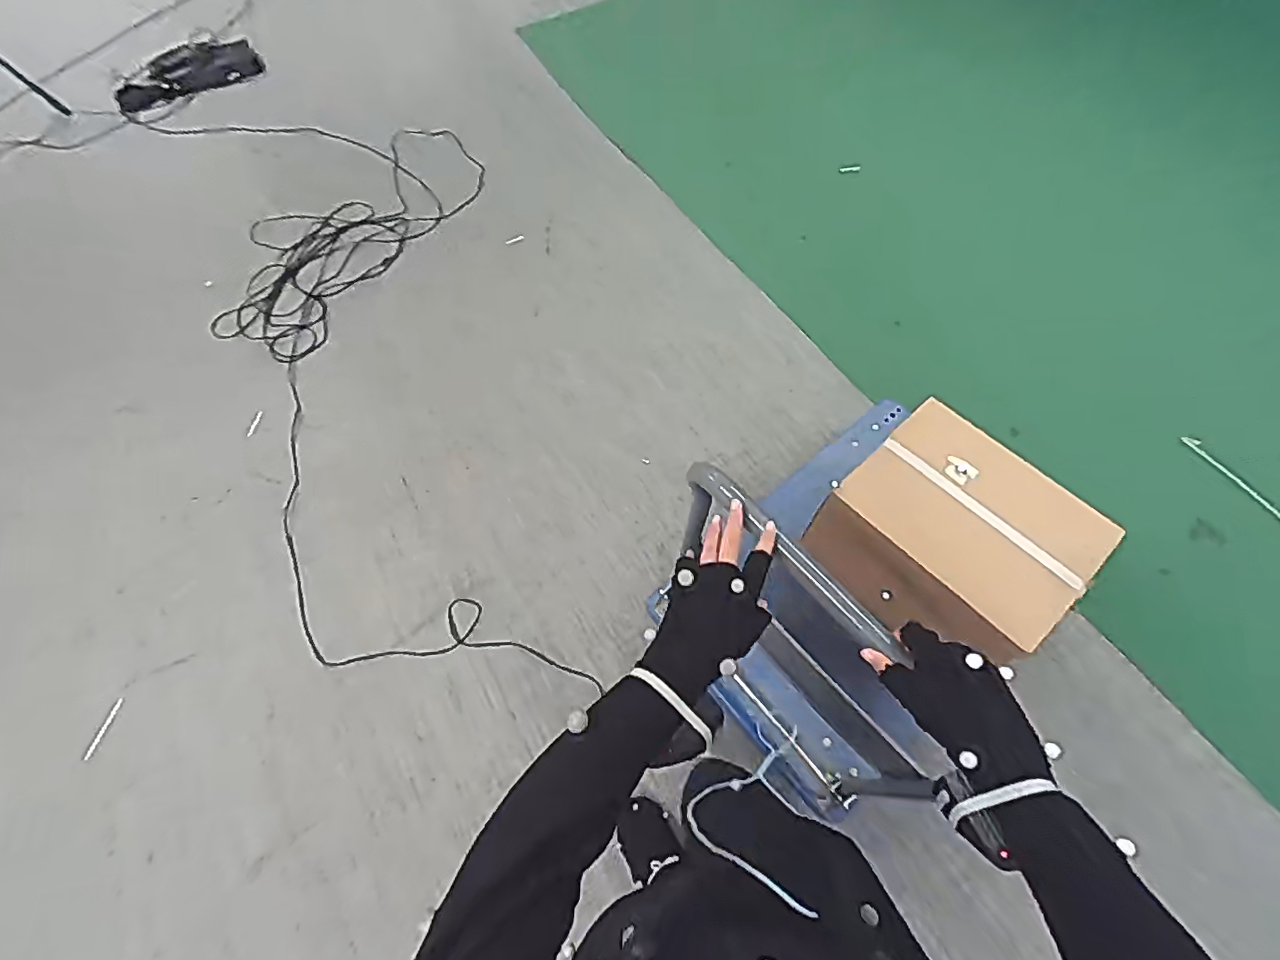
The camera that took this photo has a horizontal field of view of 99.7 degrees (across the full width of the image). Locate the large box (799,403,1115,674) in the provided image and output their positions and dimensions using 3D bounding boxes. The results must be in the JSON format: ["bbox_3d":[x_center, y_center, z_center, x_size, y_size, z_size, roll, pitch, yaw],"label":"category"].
[{"bbox_3d":[0.605,0.129,1.116,0.320,0.320,0.408,-39,66,-15],"label":"large box"}]
